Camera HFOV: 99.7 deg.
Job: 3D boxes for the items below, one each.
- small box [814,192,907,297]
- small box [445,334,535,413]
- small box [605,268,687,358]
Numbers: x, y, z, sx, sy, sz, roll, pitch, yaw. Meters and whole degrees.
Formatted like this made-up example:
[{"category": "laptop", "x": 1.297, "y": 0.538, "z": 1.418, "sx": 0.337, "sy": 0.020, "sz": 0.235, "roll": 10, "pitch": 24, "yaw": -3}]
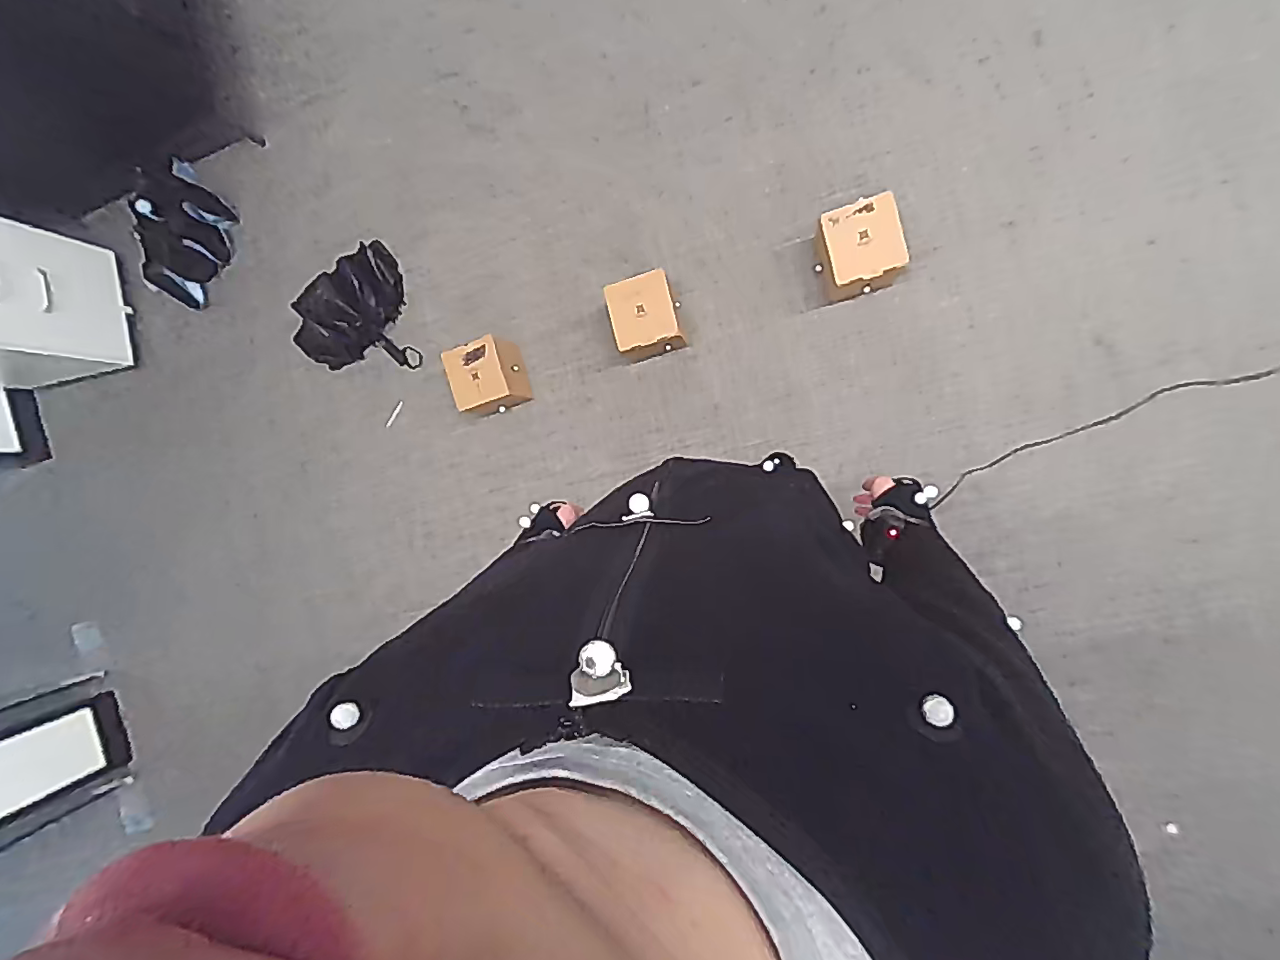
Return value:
[{"category": "small box", "x": 0.538, "y": -0.568, "z": 1.338, "sx": 0.168, "sy": 0.176, "sz": 0.179, "roll": -14, "pitch": 91, "yaw": 14}, {"category": "small box", "x": -0.431, "y": -0.302, "z": 1.574, "sx": 0.168, "sy": 0.176, "sz": 0.179, "roll": -17, "pitch": 91, "yaw": 14}, {"category": "small box", "x": 0.023, "y": -0.441, "z": 1.466, "sx": 0.168, "sy": 0.176, "sz": 0.179, "roll": -15, "pitch": 89, "yaw": 12}]
